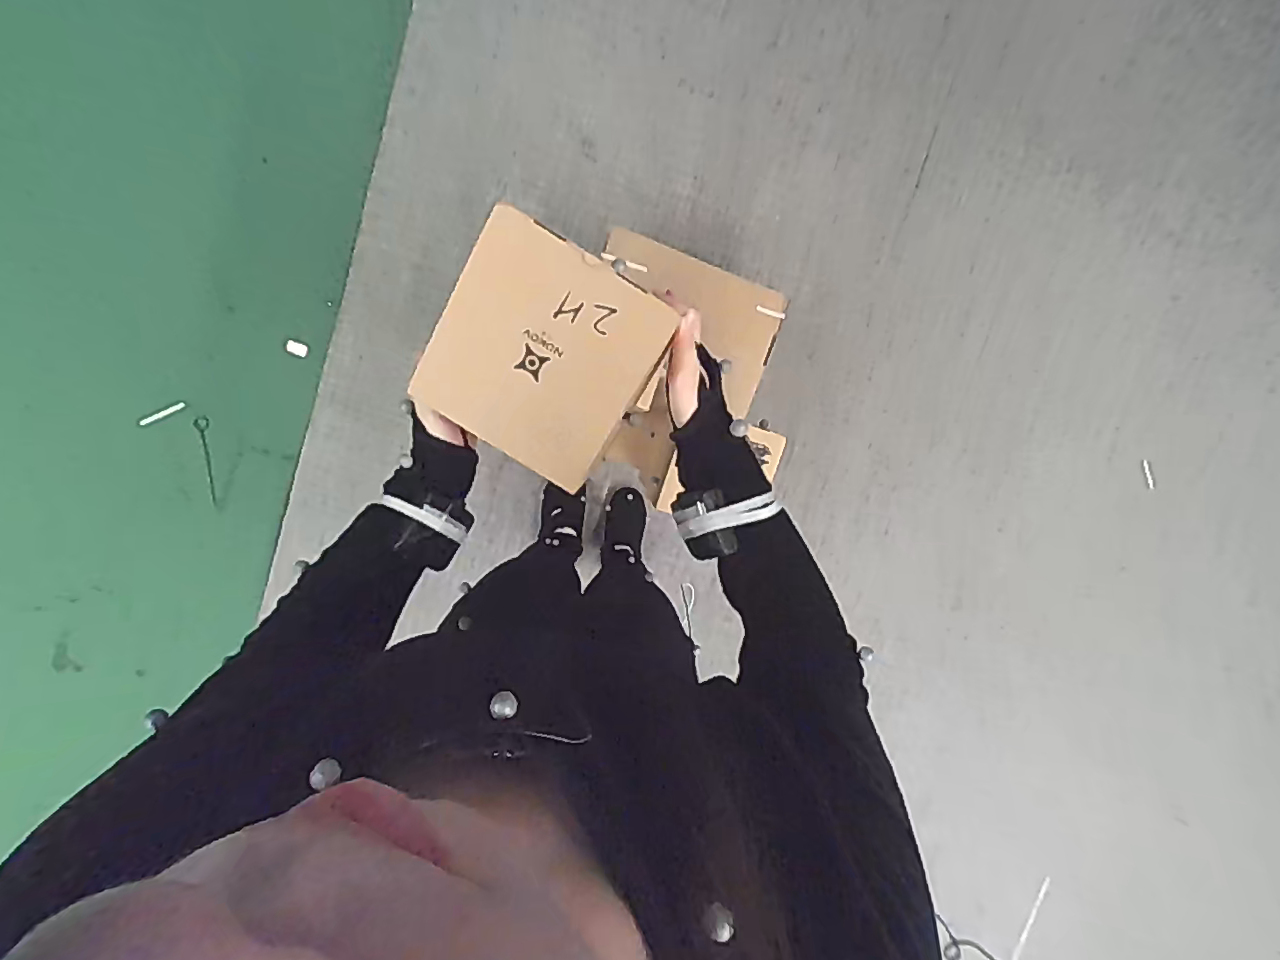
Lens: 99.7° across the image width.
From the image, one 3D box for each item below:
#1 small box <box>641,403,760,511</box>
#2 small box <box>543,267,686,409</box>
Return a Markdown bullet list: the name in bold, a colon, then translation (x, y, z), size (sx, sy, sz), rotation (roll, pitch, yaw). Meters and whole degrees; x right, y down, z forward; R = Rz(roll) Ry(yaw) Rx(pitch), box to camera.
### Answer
- **small box**: translation (0.113, -0.051, 1.085), size (0.179, 0.176, 0.168), rotation (17, 94, -7)
- **small box**: translation (-0.042, -0.218, 0.885), size (0.179, 0.176, 0.168), rotation (18, 94, -5)
